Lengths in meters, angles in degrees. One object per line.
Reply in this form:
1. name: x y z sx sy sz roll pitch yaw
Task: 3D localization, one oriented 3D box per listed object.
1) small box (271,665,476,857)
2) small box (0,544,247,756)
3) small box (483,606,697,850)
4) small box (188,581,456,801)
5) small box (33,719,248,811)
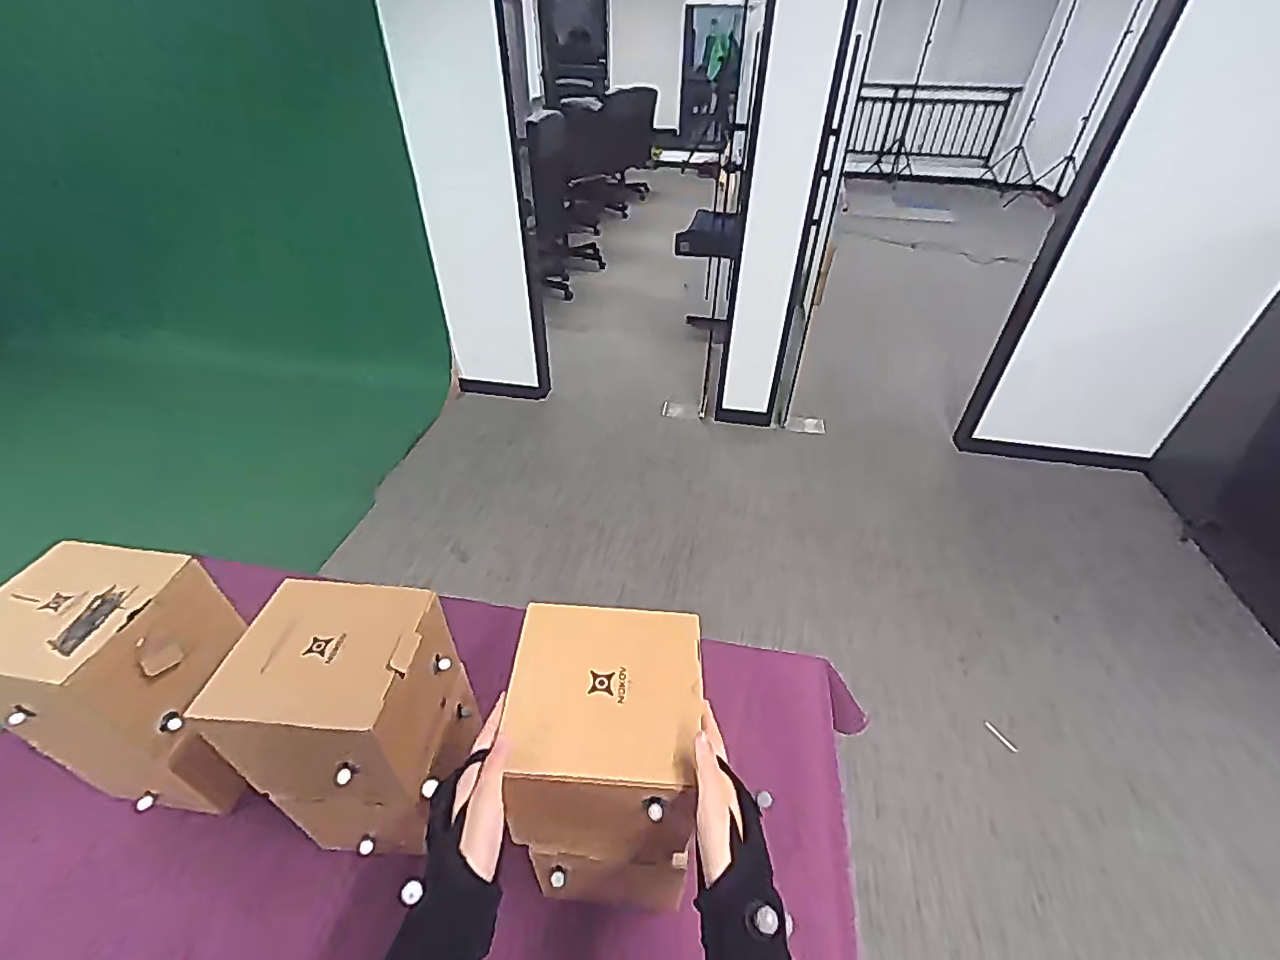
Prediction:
1. small box: -0.325 0.360 0.708 0.168 0.176 0.179 2 40 2
2. small box: -0.616 0.199 0.633 0.179 0.176 0.168 6 40 6
3. small box: -0.040 0.248 0.541 0.179 0.176 0.168 4 40 -1
4. small box: -0.324 0.235 0.602 0.179 0.176 0.168 3 39 3
5. small box: -0.620 0.326 0.738 0.179 0.176 0.168 6 40 6
